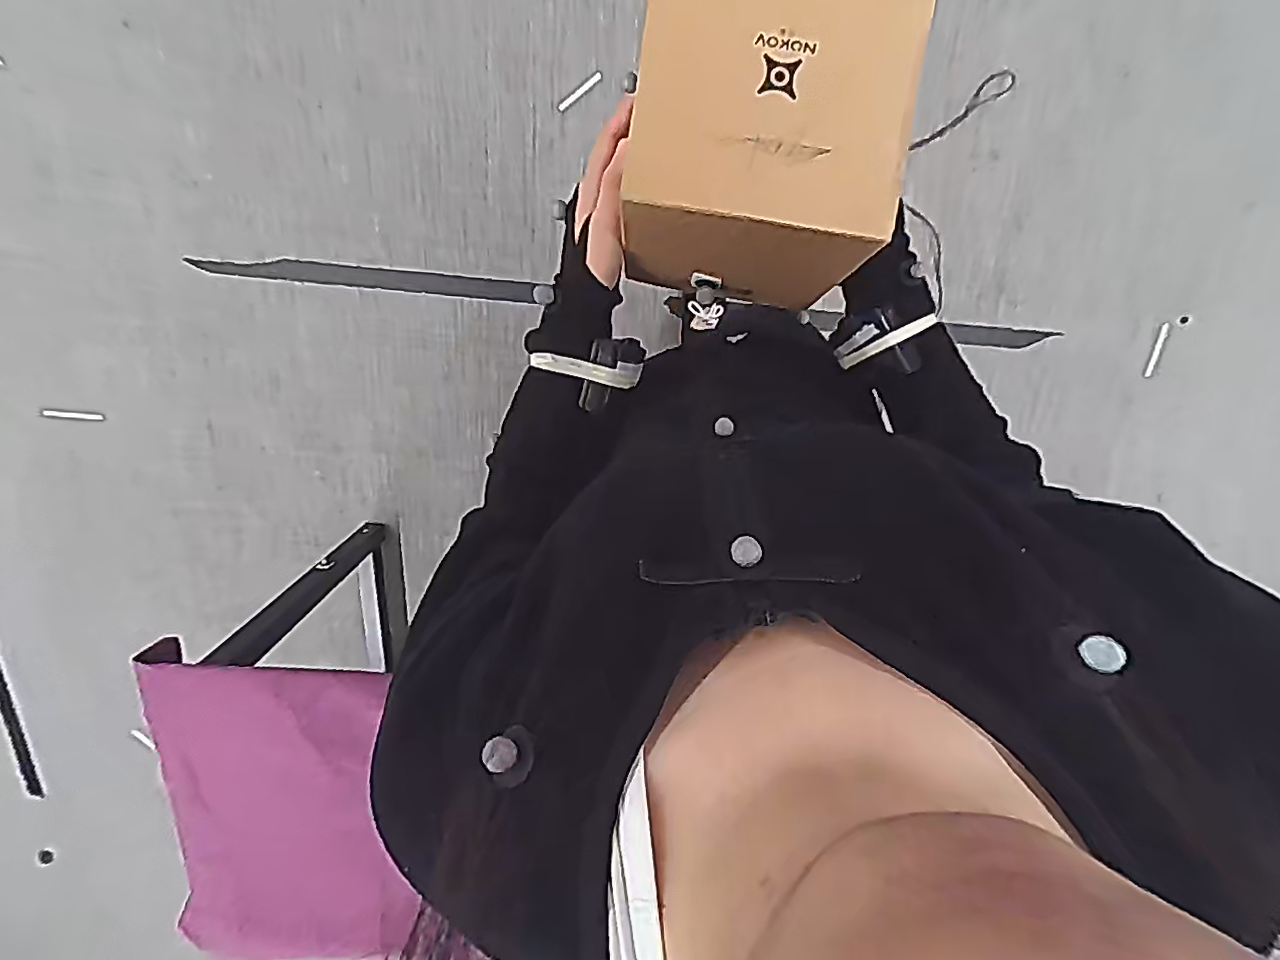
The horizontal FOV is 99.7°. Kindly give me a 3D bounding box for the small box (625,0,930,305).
[{"bbox_3d":[0.082,-0.248,0.401,0.168,0.176,0.179,8,94,0],"label":"small box"}]
